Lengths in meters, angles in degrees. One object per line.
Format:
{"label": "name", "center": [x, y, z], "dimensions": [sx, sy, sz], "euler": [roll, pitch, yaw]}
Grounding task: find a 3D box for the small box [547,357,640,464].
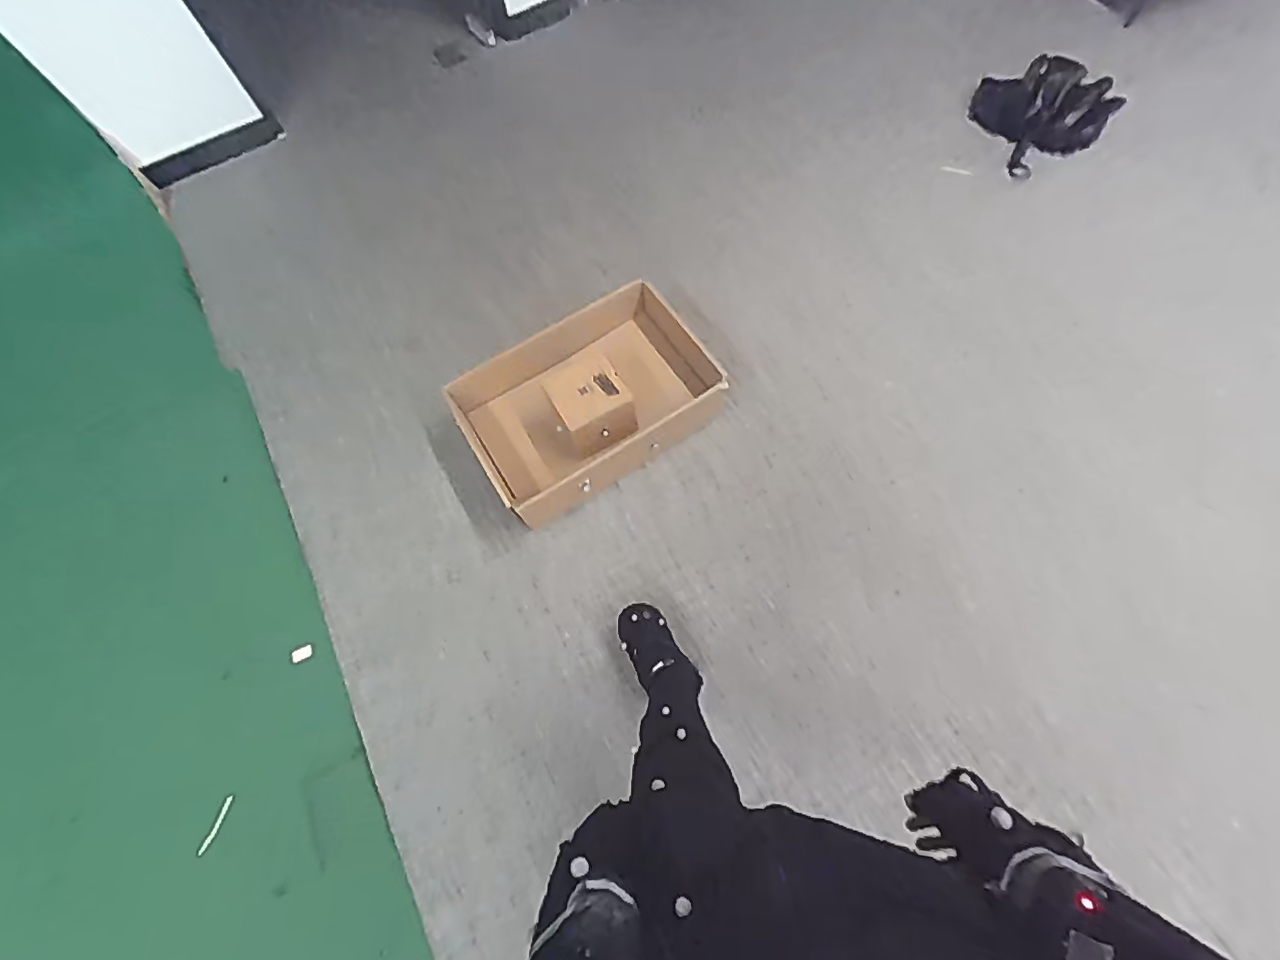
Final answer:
{"label": "small box", "center": [-0.113, -0.172, 1.381], "dimensions": [0.179, 0.176, 0.168], "euler": [-32, 69, -9]}
